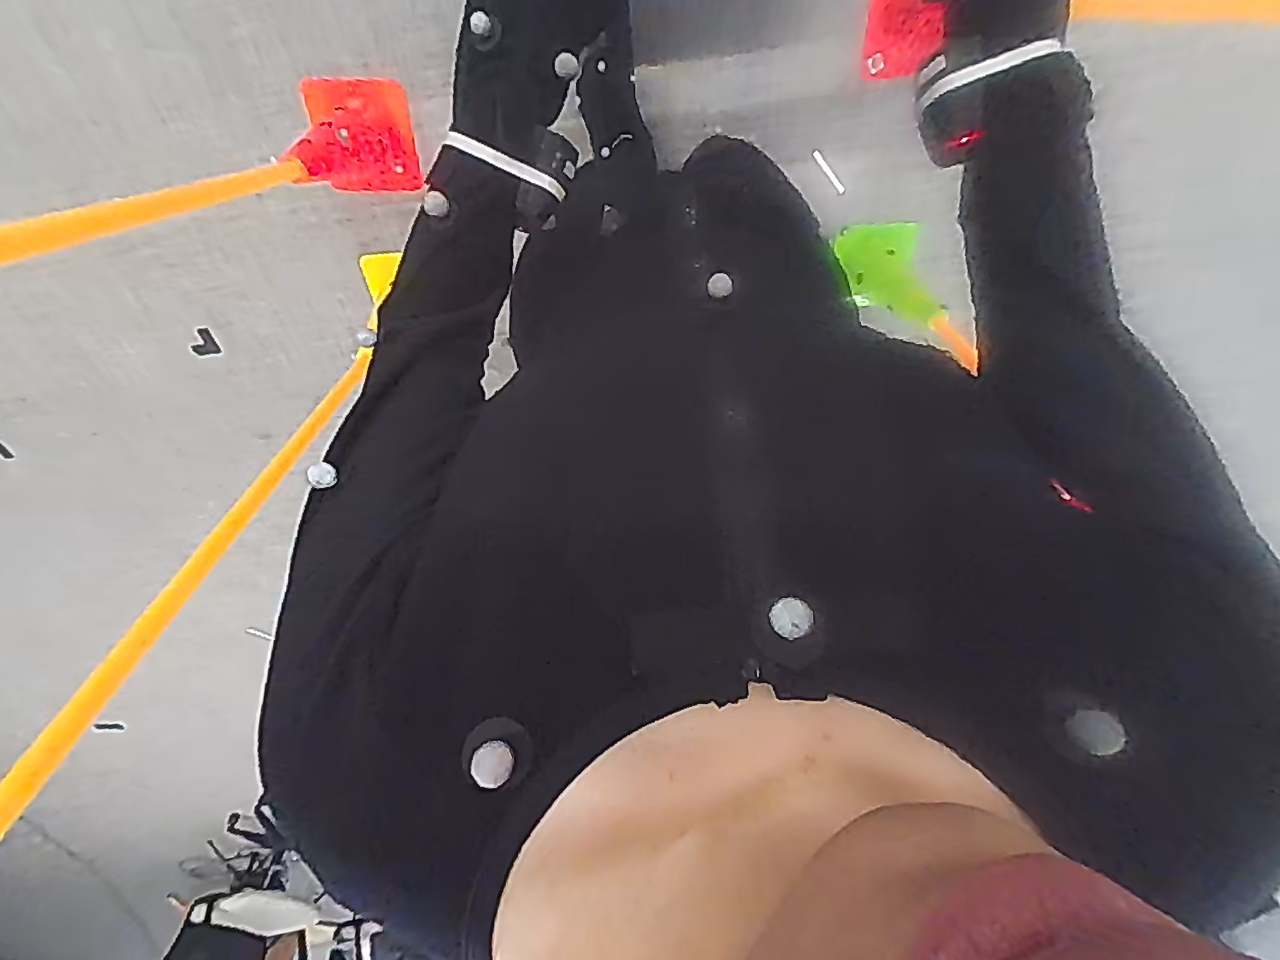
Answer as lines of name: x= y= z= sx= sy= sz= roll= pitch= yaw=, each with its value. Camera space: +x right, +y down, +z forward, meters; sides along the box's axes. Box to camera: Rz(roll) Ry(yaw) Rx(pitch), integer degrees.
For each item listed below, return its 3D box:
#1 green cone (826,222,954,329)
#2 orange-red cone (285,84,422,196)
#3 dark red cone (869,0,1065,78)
green cone: x=0.588 y=-0.427 z=1.217 sx=0.202 sy=0.368 sz=0.200 roll=-5 pitch=129 yaw=-2
orange-red cone: x=-0.557 y=-0.601 z=0.994 sx=0.198 sy=0.360 sz=0.199 roll=-1 pitch=127 yaw=-4
dark red cone: x=0.557 y=-0.792 z=0.899 sx=0.201 sy=0.394 sz=0.202 roll=-8 pitch=129 yaw=0
